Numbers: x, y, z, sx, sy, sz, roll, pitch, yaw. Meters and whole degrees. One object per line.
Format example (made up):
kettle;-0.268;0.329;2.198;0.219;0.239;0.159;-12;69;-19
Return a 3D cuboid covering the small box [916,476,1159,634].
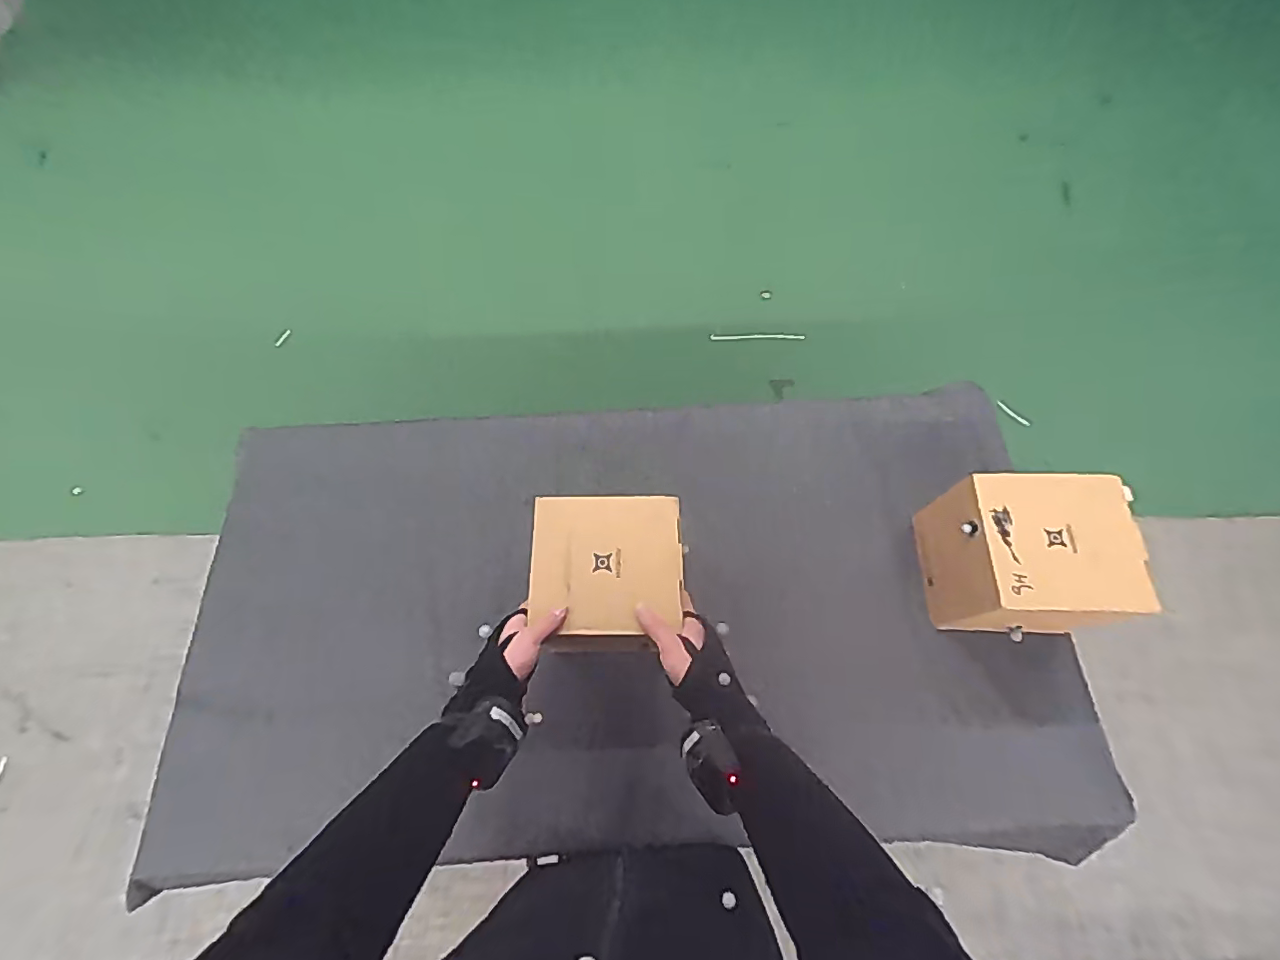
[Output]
small box;0.491;0.104;0.699;0.179;0.176;0.168;3;68;1

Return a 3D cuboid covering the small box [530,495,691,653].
small box;-0.032;0.125;0.686;0.179;0.176;0.168;-1;66;1
